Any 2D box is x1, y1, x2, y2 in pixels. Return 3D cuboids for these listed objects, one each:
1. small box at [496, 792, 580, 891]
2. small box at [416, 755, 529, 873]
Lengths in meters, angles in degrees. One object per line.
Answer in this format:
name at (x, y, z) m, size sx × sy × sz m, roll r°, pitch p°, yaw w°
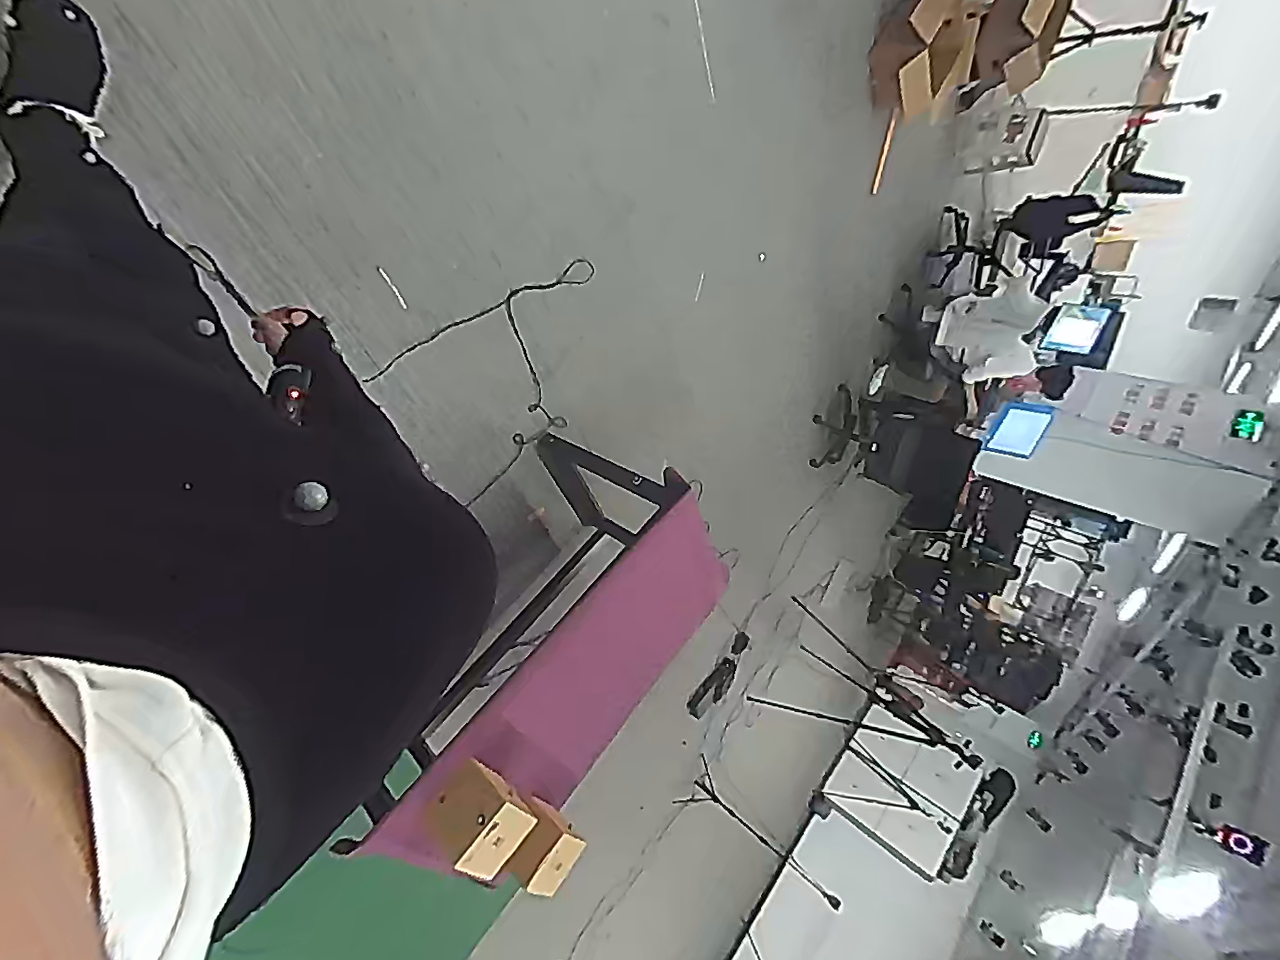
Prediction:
small box at (-0.313, 1.053, 1.583) m, size 0.168 × 0.176 × 0.179 m, roll -49°, pitch 139°, yaw -22°
small box at (-0.413, 0.819, 1.336) m, size 0.168 × 0.176 × 0.179 m, roll -46°, pitch 138°, yaw -23°
